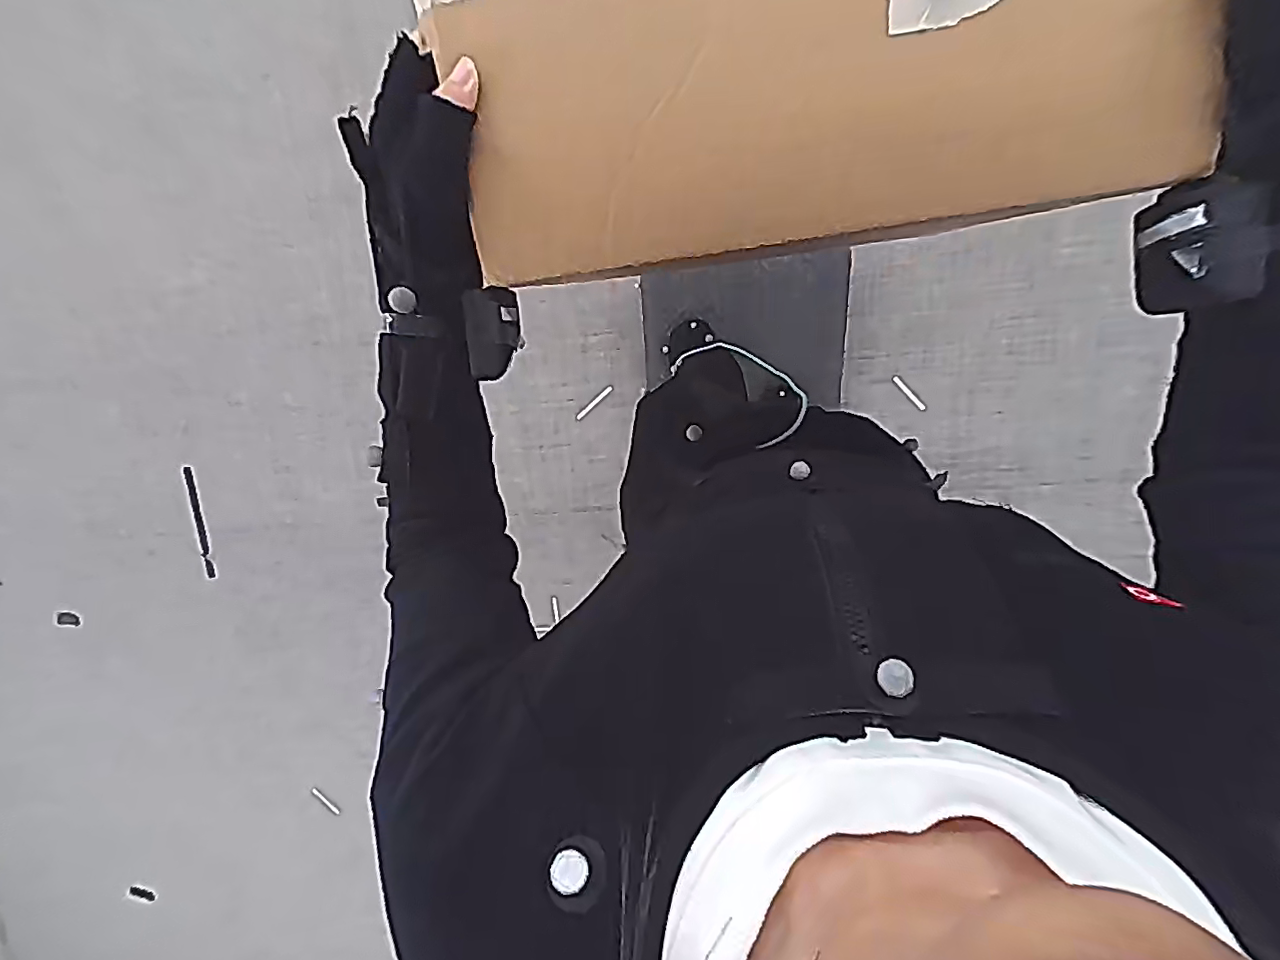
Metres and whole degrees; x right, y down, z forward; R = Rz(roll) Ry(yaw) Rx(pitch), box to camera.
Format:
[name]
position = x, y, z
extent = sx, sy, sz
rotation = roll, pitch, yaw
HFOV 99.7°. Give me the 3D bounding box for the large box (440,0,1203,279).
[large box]
position = 0.092, -0.349, 0.417
extent = 0.408, 0.320, 0.320
rotation = -6, 110, 8
